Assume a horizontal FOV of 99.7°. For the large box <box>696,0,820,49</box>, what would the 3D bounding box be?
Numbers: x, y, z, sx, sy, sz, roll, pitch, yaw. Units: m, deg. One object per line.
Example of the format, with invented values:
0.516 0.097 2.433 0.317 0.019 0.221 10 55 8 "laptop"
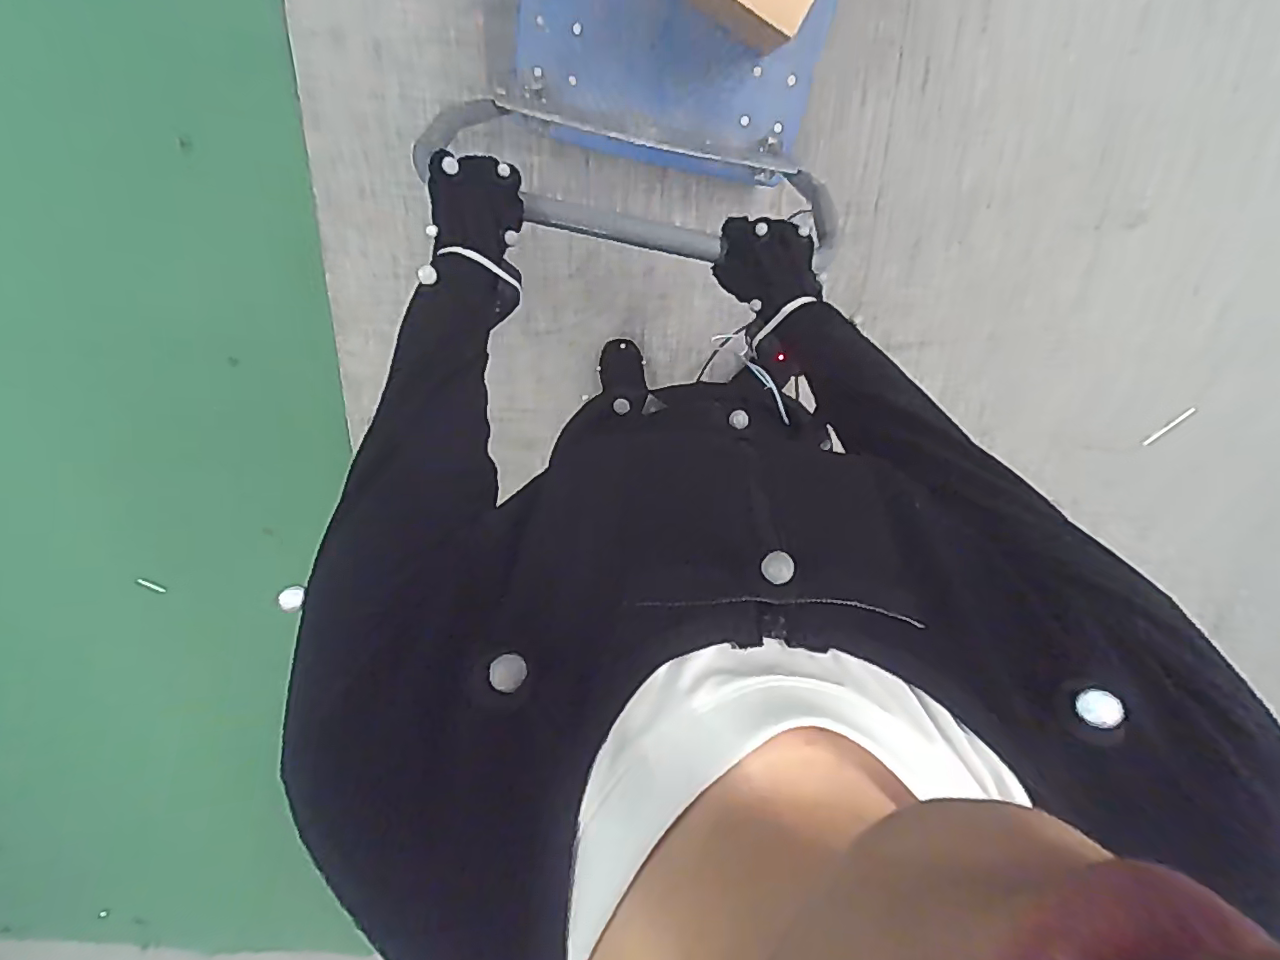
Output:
0.133 -0.910 0.784 0.408 0.320 0.320 25 123 -11 "large box"
